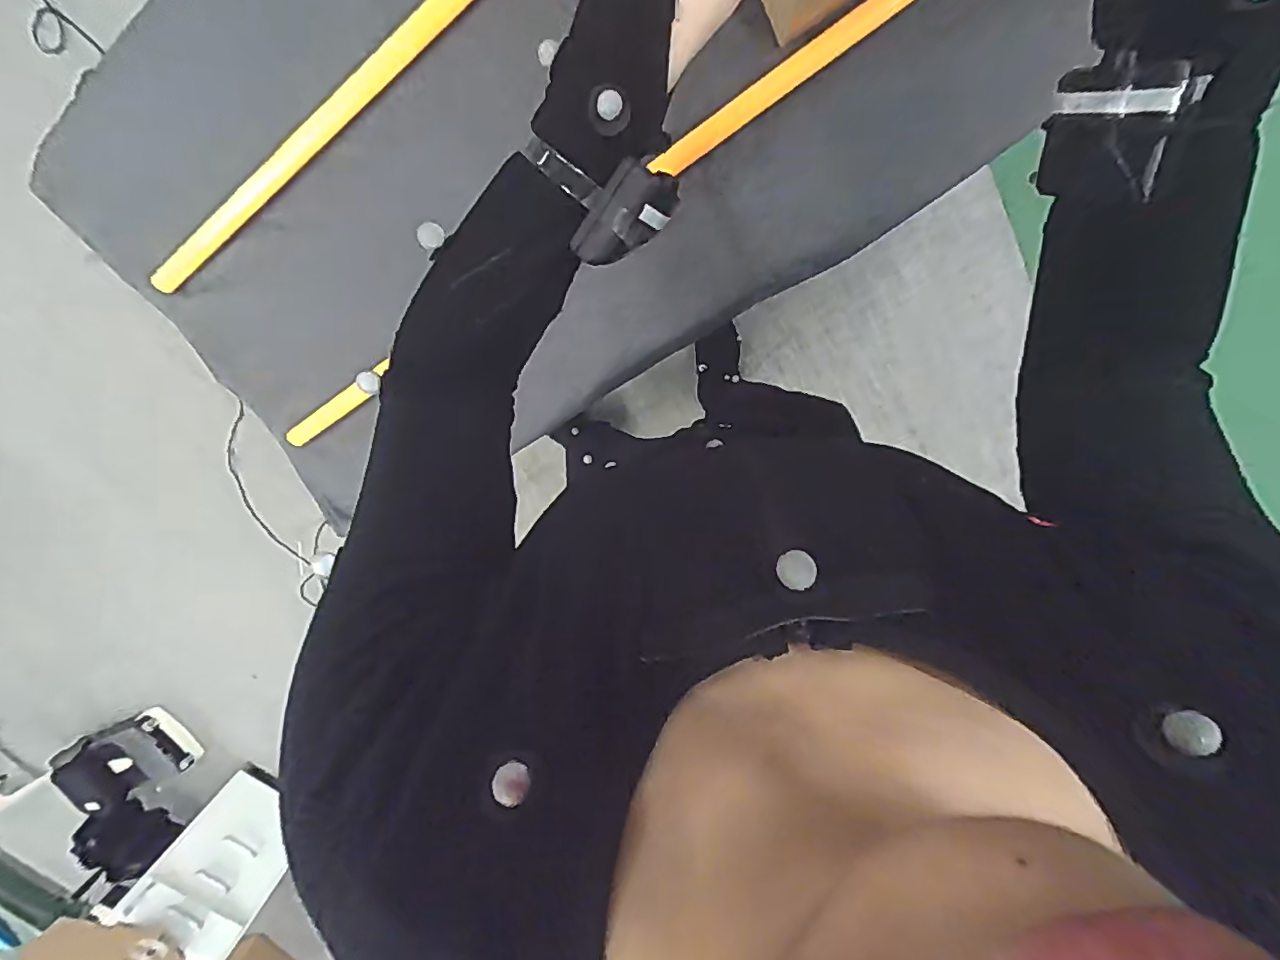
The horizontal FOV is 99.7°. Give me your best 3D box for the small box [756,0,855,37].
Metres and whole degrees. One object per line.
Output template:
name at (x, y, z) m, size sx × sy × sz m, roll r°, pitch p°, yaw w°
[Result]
small box at (0.159, -0.498, 0.425) m, size 0.168 × 0.176 × 0.179 m, roll -25°, pitch 108°, yaw 17°
